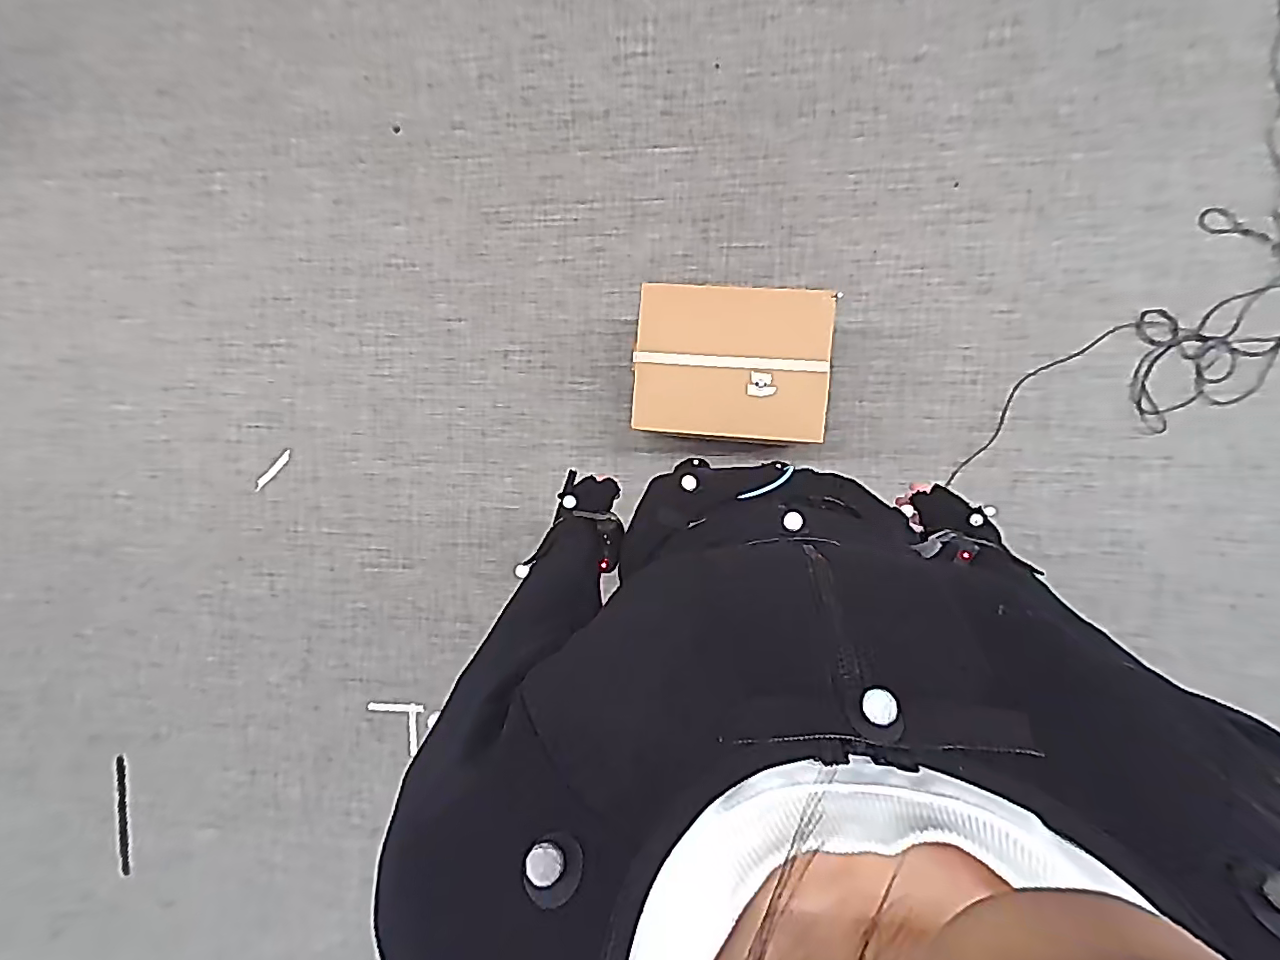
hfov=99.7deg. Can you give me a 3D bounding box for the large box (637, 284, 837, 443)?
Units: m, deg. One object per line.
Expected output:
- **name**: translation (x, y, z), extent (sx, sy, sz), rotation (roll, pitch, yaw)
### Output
- **large box**: translation (0.213, -0.257, 1.285), extent (0.408, 0.320, 0.320), rotation (5, 94, 6)
